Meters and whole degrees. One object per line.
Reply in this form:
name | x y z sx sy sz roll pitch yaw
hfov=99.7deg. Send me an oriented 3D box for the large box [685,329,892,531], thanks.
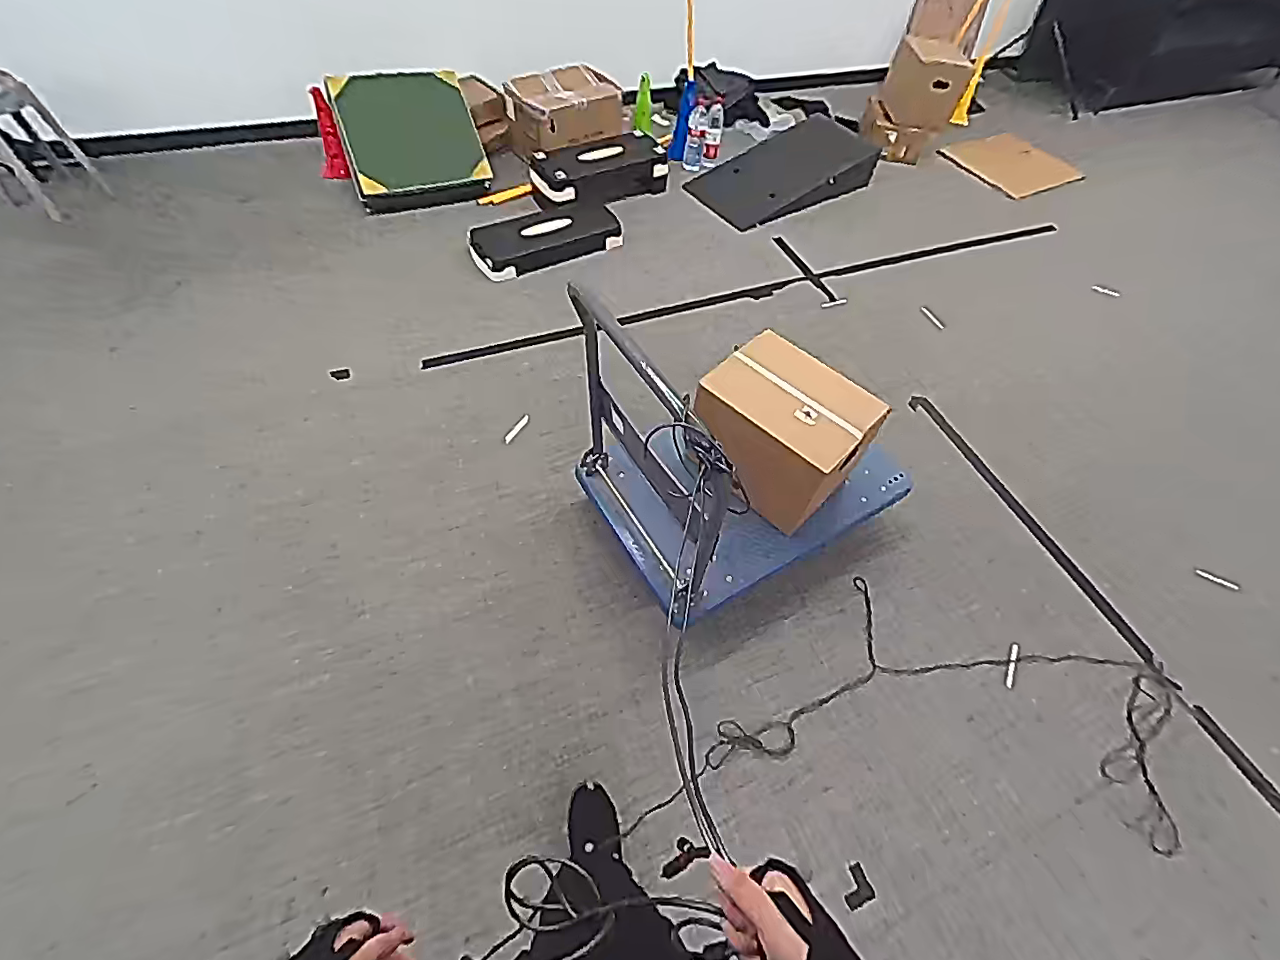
large box | 0.387 -0.139 1.504 0.408 0.320 0.320 41 63 20
